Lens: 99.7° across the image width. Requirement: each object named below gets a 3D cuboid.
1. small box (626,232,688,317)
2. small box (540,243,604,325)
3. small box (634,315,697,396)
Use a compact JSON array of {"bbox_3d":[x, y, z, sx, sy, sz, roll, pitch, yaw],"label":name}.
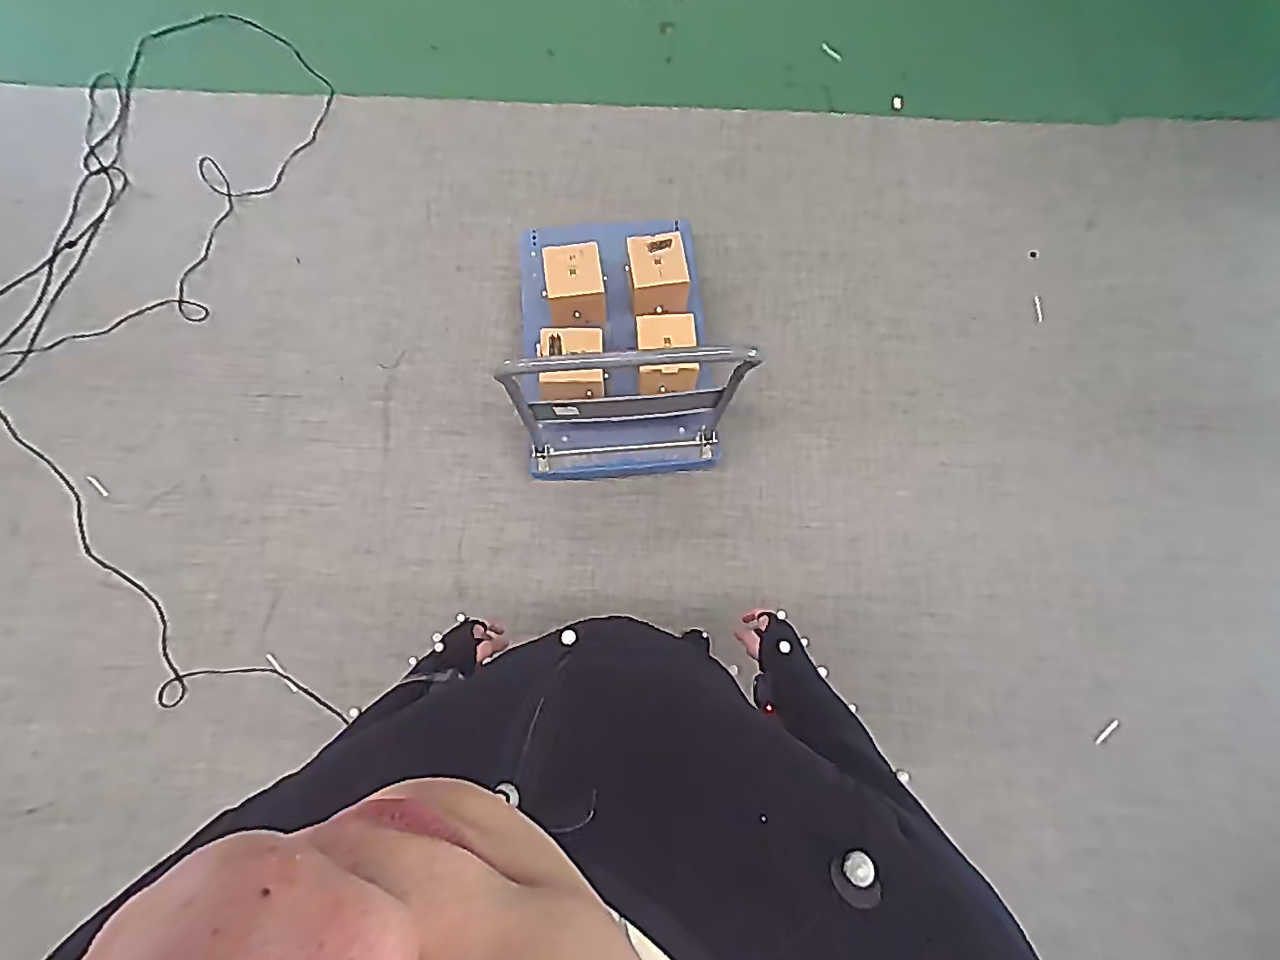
[{"bbox_3d":[0.046,-0.624,1.659,0.168,0.176,0.179,-8,76,-2],"label":"small box"},{"bbox_3d":[-0.203,-0.587,1.644,0.168,0.176,0.179,-8,75,-4],"label":"small box"},{"bbox_3d":[0.070,-0.364,1.590,0.168,0.176,0.179,-4,75,-2],"label":"small box"}]
